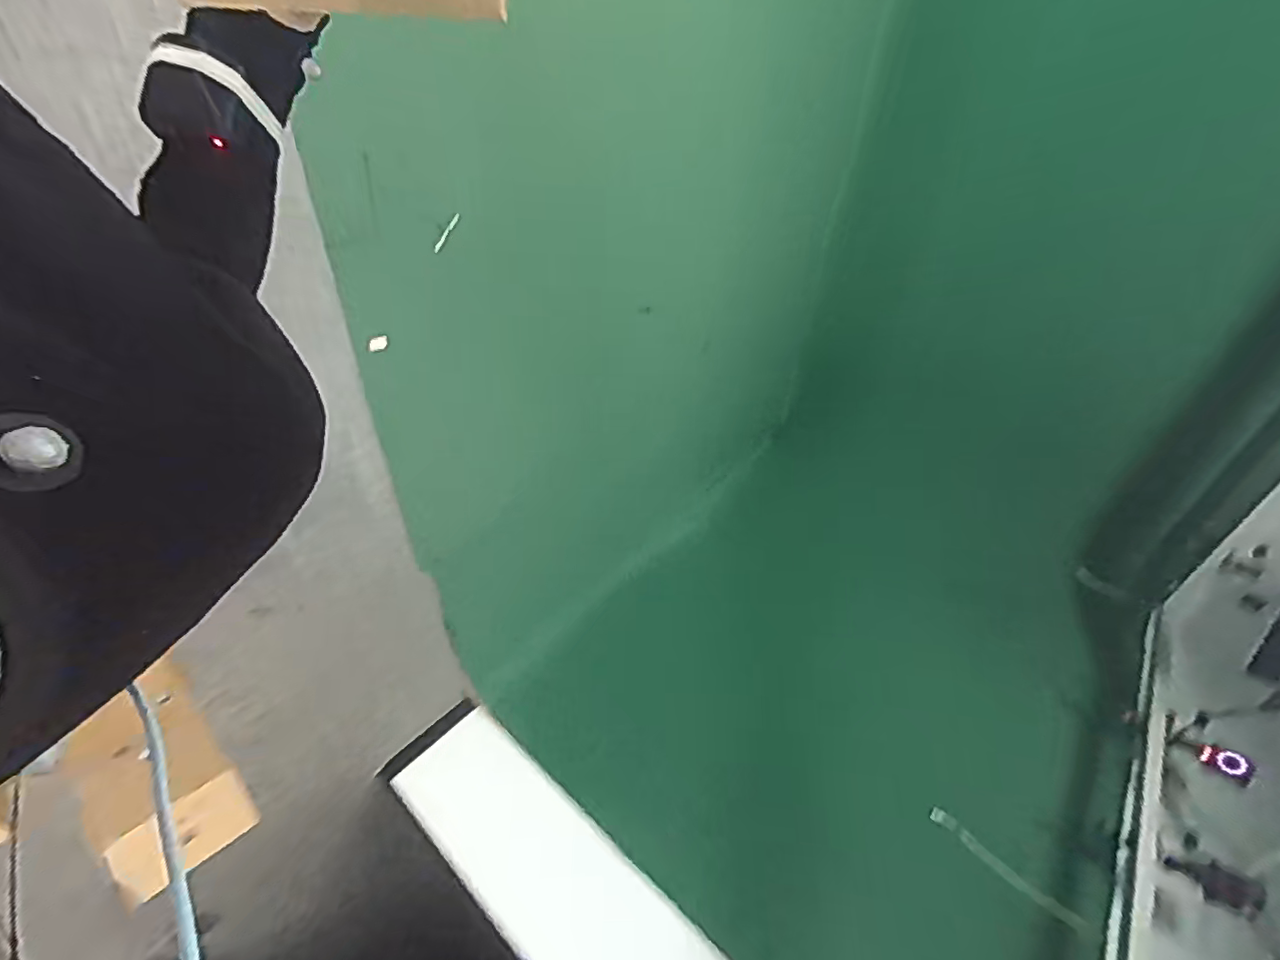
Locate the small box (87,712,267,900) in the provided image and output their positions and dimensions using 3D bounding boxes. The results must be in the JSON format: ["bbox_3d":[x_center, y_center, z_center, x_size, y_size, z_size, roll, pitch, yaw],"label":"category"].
[{"bbox_3d":[-0.764,0.531,0.901,0.168,0.176,0.179,-29,136,-44],"label":"small box"}]

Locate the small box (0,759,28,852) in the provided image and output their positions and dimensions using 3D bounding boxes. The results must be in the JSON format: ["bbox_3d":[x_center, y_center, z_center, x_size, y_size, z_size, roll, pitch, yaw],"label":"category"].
[{"bbox_3d":[-1.041,0.472,0.763,0.179,0.176,0.168,-31,135,-41],"label":"small box"}]

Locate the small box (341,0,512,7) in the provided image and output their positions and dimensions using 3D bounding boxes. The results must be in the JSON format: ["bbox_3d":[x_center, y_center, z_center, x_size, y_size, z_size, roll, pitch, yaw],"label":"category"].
[{"bbox_3d":[-0.158,-0.370,0.273,0.168,0.179,0.176,-5,141,-7],"label":"small box"}]
